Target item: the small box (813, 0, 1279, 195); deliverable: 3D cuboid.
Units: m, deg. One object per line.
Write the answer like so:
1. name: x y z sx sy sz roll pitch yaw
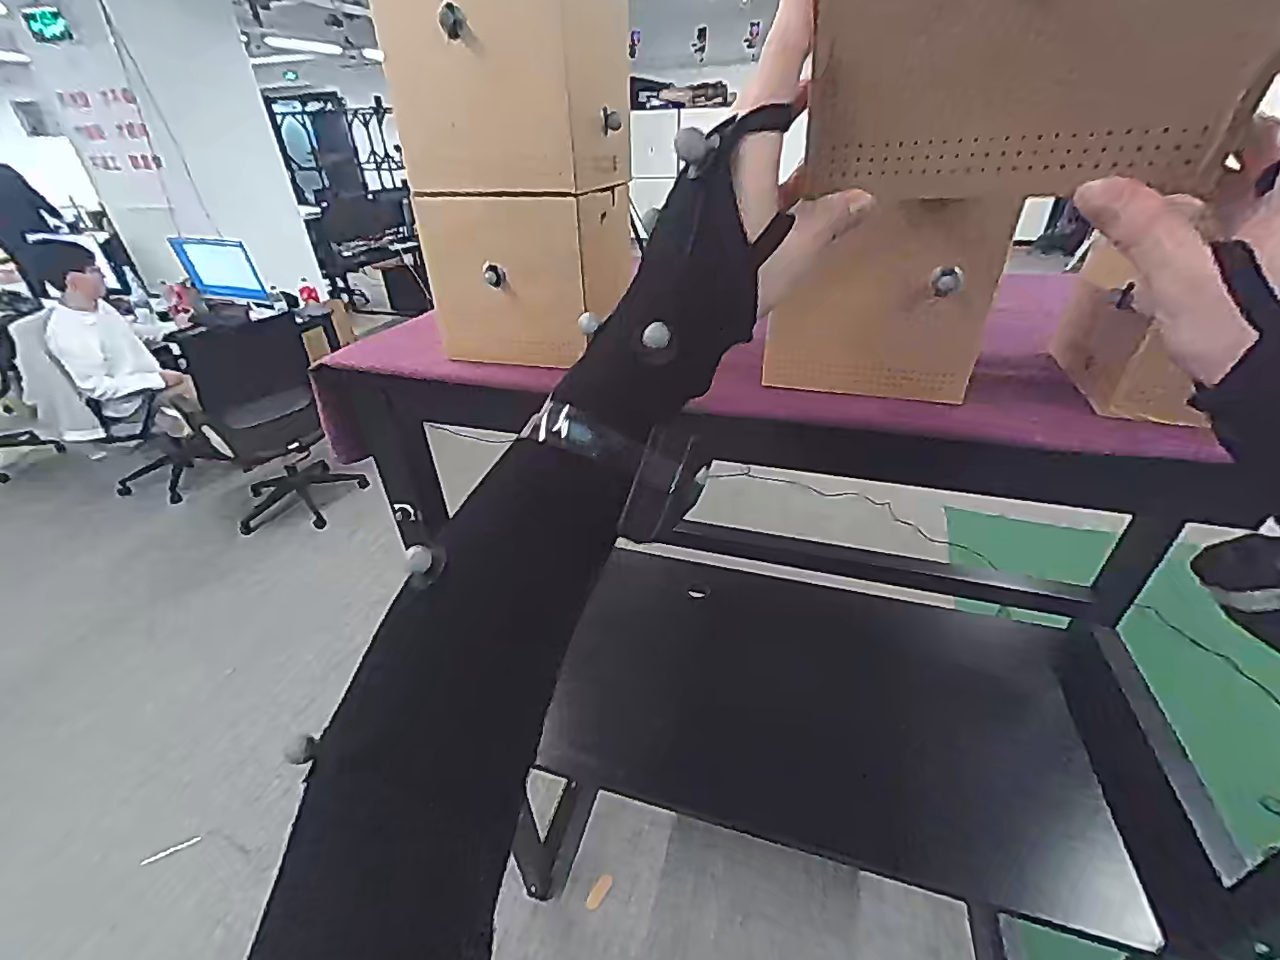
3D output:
1. small box: 0.184 -0.252 0.254 0.179 0.176 0.168 9 53 22

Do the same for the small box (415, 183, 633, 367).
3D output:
1. small box: -0.111 -0.234 0.607 0.179 0.176 0.168 7 33 14

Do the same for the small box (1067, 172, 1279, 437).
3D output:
1. small box: 0.488 -0.147 0.441 0.179 0.176 0.168 9 37 17

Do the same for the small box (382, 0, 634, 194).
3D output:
1. small box: -0.113 -0.373 0.520 0.179 0.176 0.168 9 34 15
